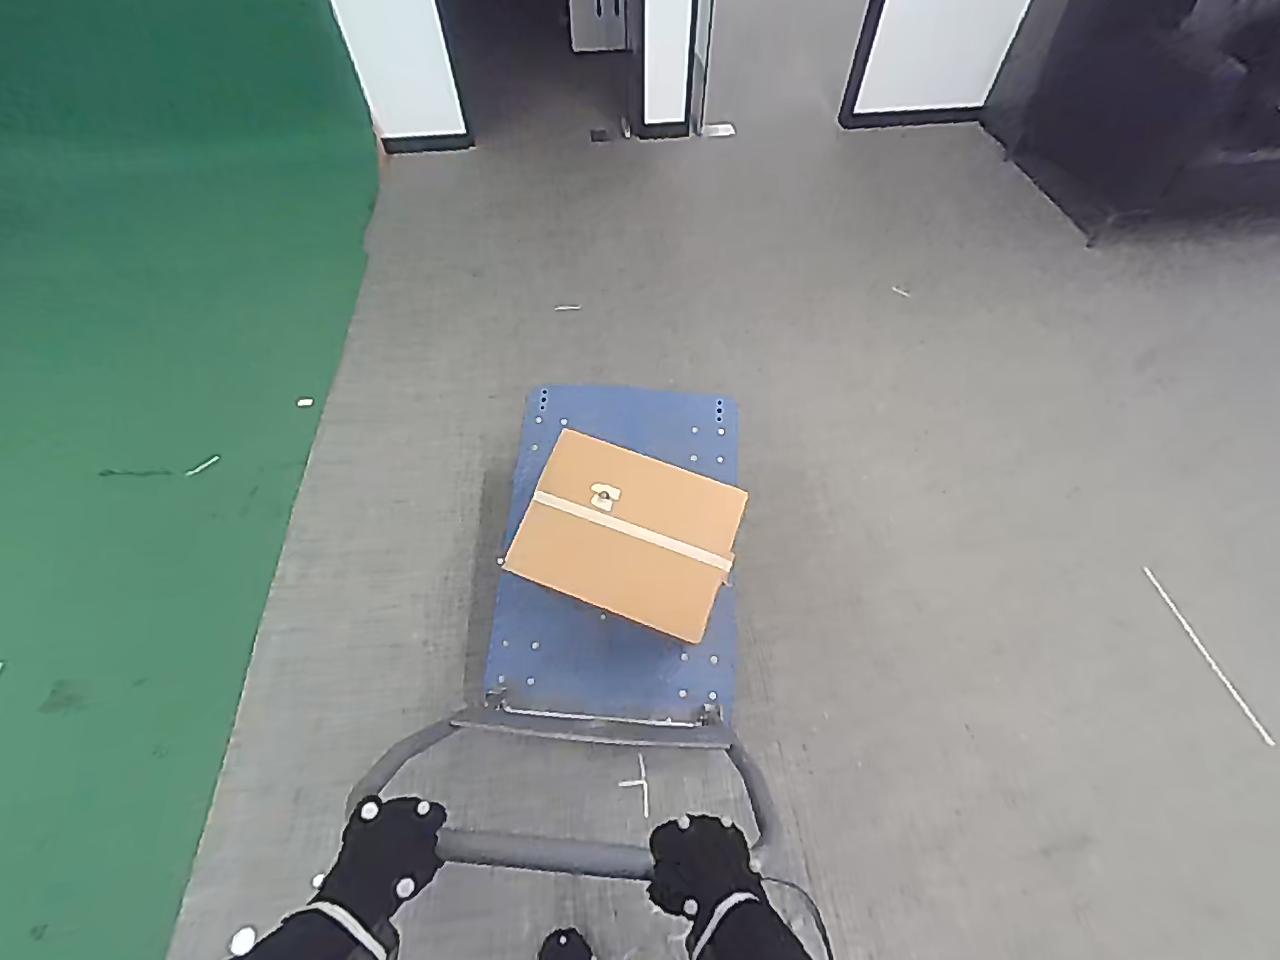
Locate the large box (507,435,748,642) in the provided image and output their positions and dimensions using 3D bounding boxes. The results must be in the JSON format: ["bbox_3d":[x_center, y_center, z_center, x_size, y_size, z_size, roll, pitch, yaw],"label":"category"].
[{"bbox_3d":[-0.013,0.143,1.195,0.408,0.320,0.320,19,74,8],"label":"large box"}]
